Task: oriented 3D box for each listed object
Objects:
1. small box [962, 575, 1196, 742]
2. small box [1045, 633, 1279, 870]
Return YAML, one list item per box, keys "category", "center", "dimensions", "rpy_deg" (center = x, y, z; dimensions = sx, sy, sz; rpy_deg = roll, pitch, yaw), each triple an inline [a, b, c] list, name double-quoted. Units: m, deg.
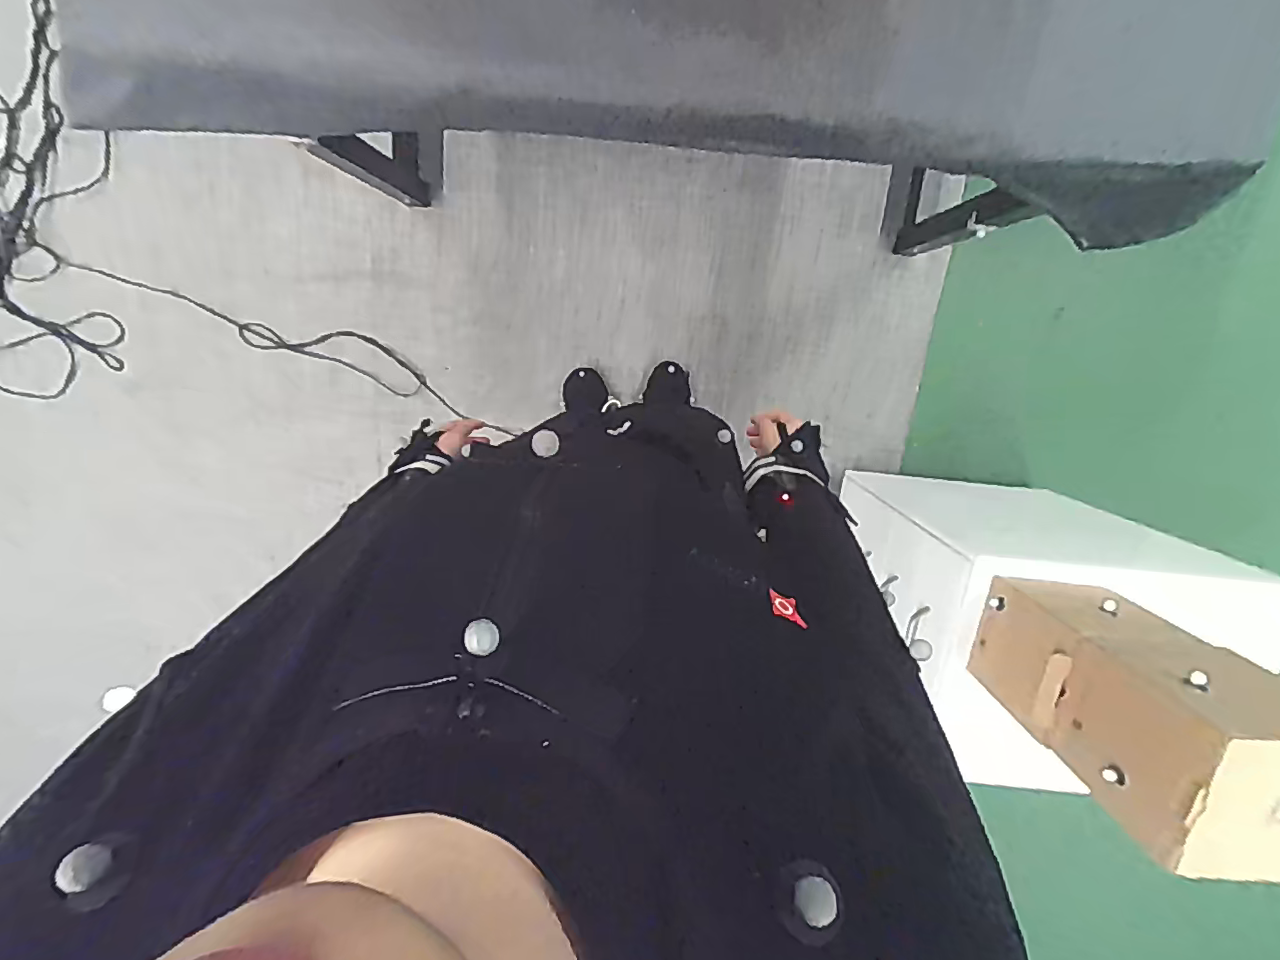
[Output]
- category: "small box"
  center: [0.591, 0.244, 0.752]
  dimensions: [0.179, 0.176, 0.168]
  rpy_deg: [6, 105, -3]
- category: "small box"
  center: [0.600, 0.285, 0.594]
  dimensions: [0.179, 0.176, 0.168]
  rpy_deg: [3, 107, -2]
